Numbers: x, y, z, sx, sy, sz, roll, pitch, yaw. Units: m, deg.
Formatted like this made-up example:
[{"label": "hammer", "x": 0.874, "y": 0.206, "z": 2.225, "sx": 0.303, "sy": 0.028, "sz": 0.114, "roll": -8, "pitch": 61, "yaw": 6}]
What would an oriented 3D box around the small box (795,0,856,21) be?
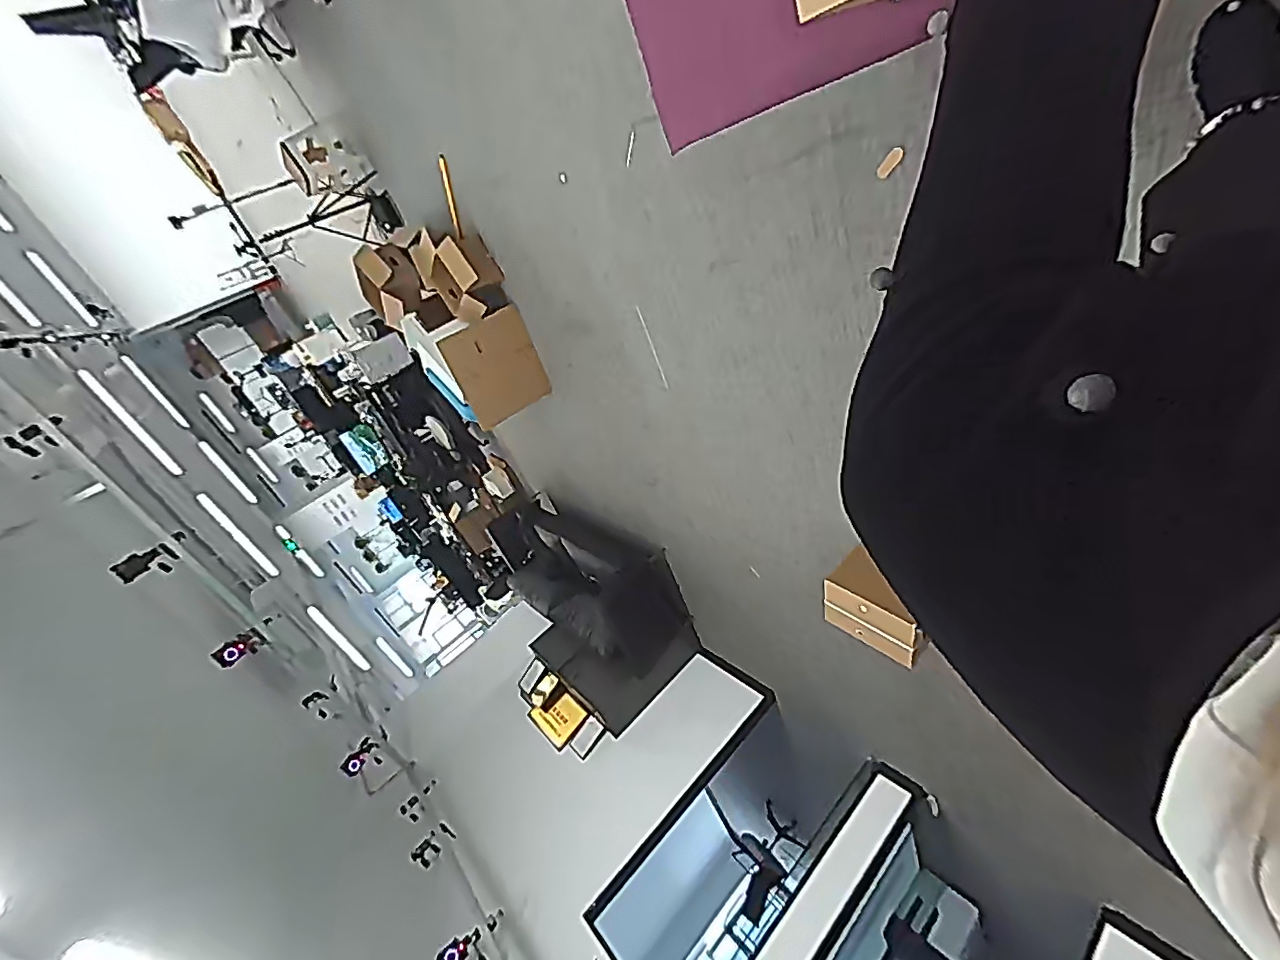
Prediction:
[{"label": "small box", "x": 0.269, "y": -0.640, "z": 0.572, "sx": 0.168, "sy": 0.176, "sz": 0.179, "roll": 20, "pitch": 140, "yaw": 48}]
